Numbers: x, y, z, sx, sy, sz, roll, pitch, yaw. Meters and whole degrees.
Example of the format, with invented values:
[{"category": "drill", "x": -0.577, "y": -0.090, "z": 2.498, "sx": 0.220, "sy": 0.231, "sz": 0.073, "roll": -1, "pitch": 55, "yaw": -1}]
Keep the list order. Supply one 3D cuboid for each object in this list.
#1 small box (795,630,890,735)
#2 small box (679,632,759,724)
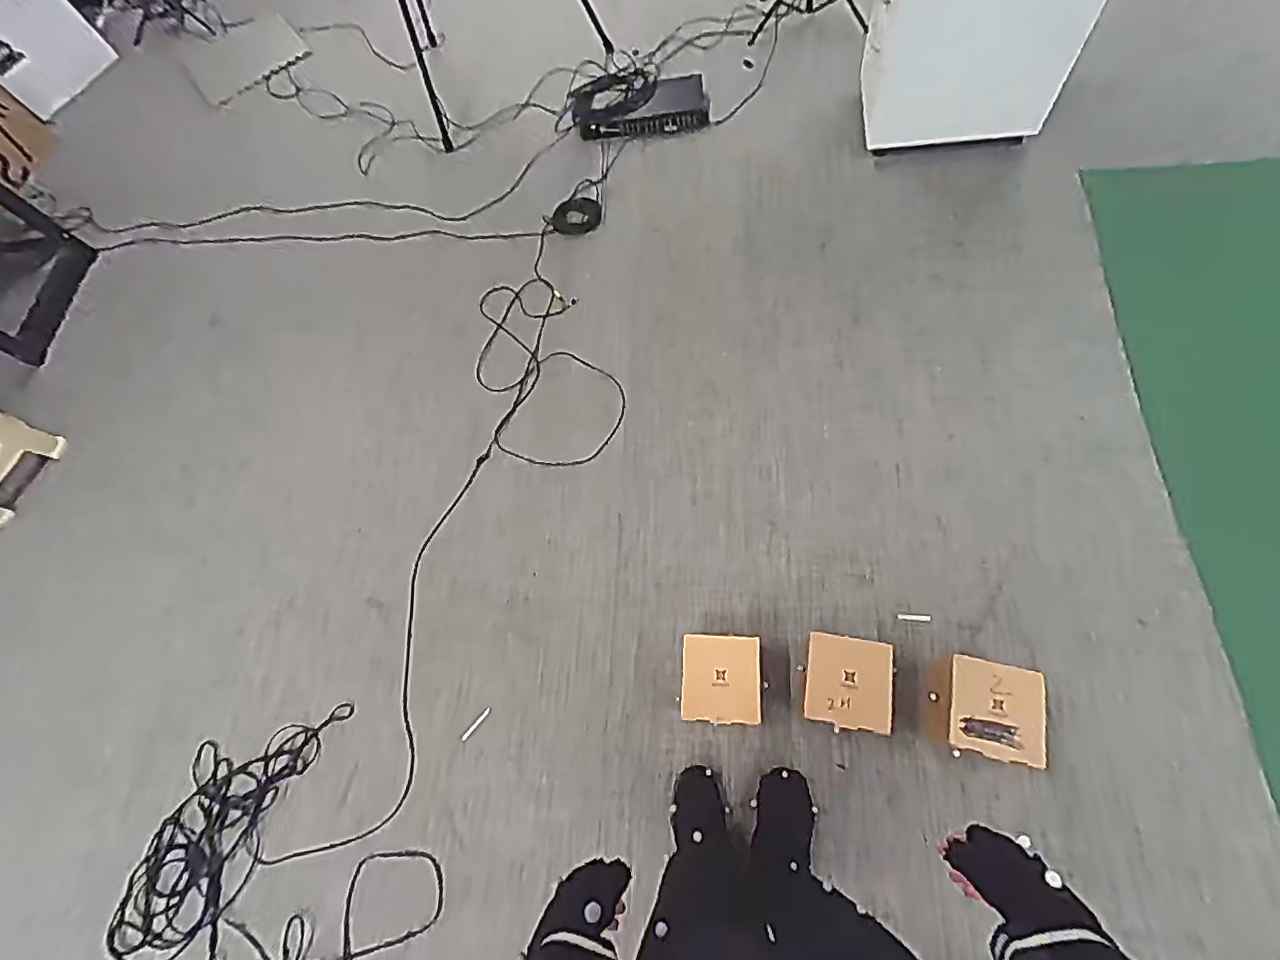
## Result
[{"category": "small box", "x": 0.432, "y": 0.437, "z": 1.171, "sx": 0.168, "sy": 0.176, "sz": 0.179, "roll": 7, "pitch": 70, "yaw": 14}, {"category": "small box", "x": 0.179, "y": 0.446, "z": 1.215, "sx": 0.168, "sy": 0.176, "sz": 0.179, "roll": 0, "pitch": 68, "yaw": 10}]
